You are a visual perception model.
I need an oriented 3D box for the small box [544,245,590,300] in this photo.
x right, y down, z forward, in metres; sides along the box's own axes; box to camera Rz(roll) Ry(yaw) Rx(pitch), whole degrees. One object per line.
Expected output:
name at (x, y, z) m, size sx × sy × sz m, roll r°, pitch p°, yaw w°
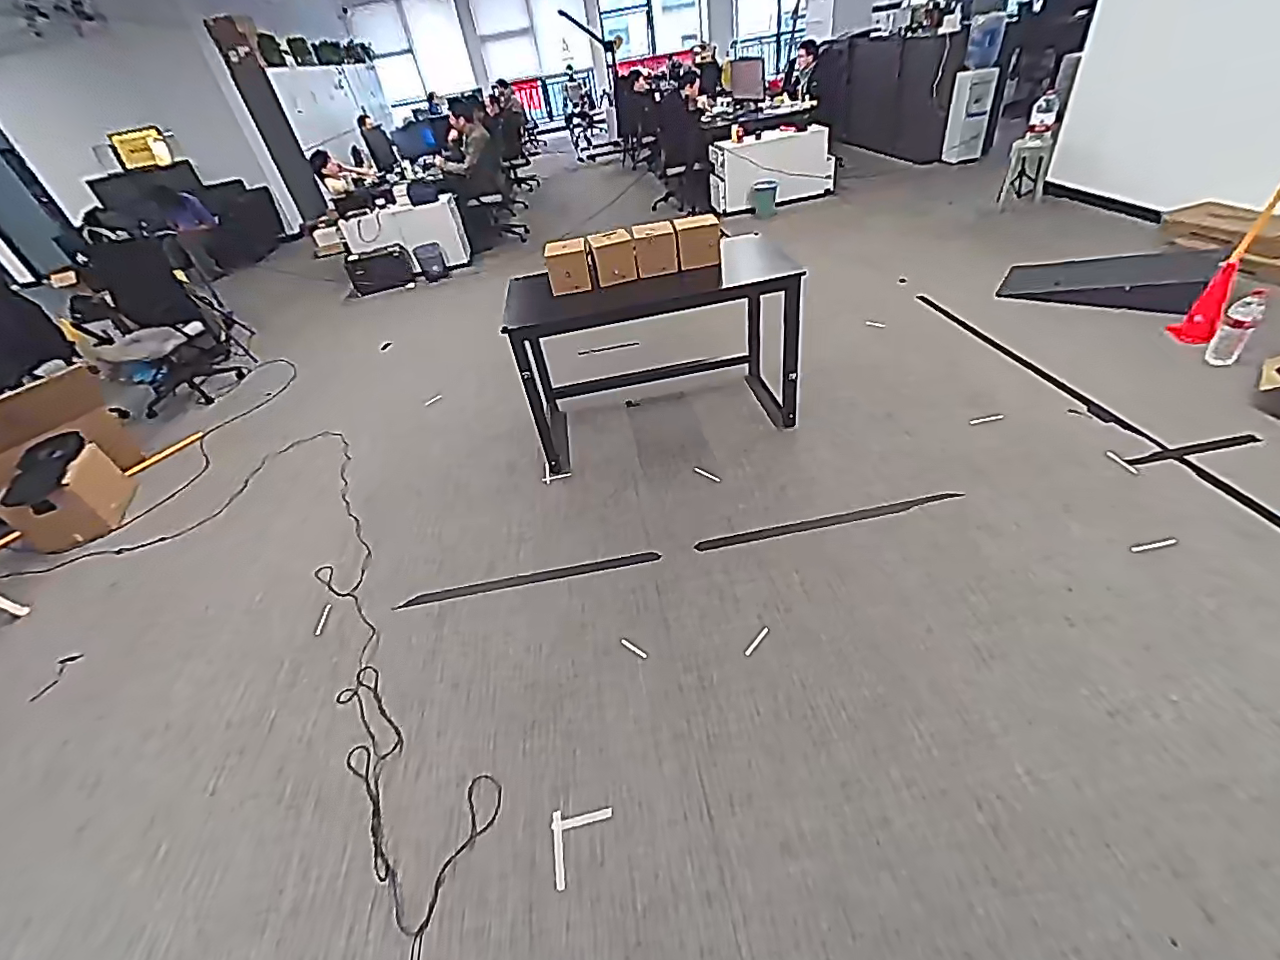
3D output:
small box at (-0.310, -0.885, 2.319) m, size 0.168 × 0.176 × 0.179 m, roll -9°, pitch 38°, yaw 1°
